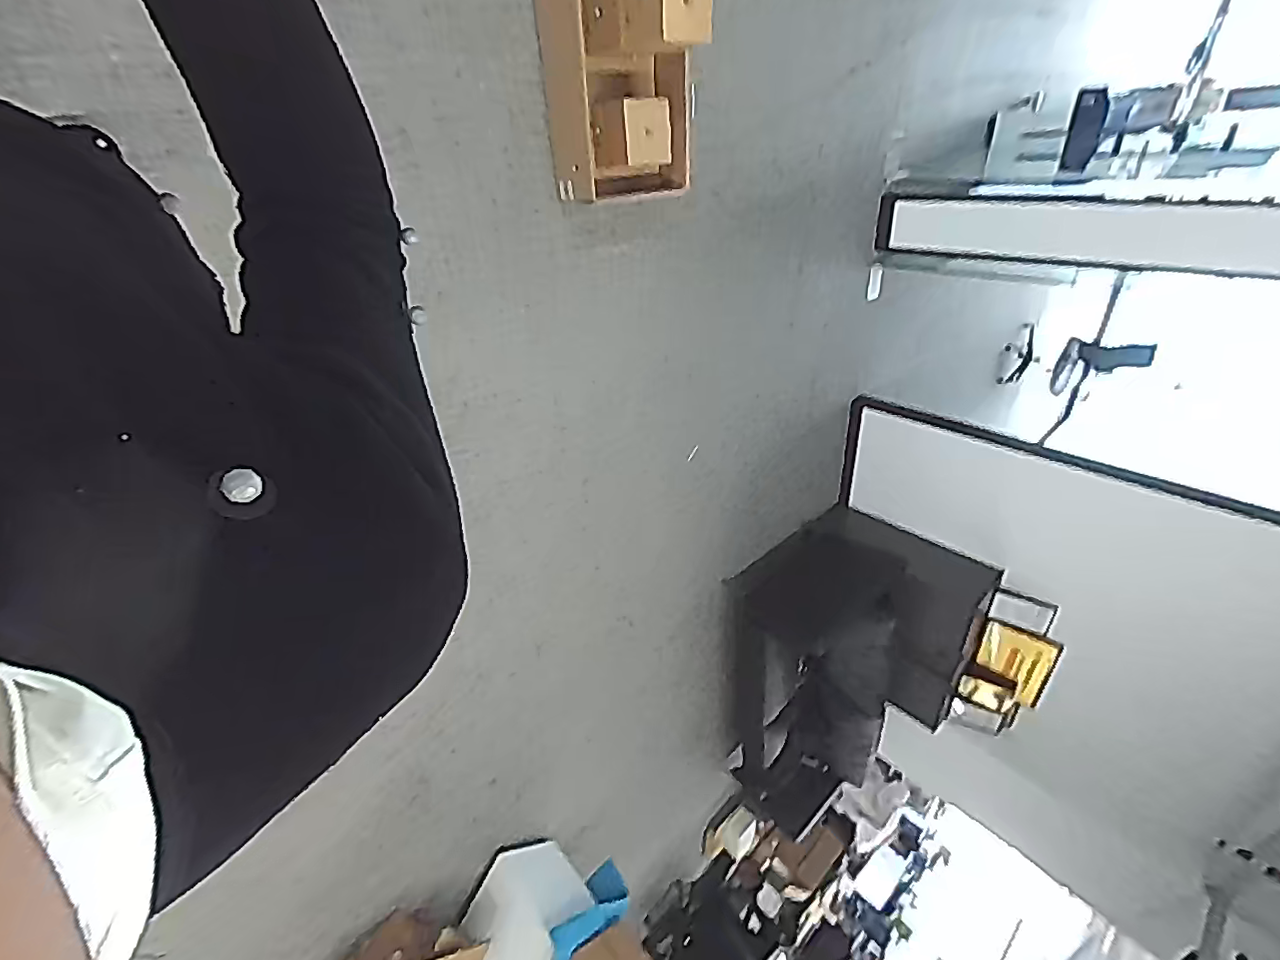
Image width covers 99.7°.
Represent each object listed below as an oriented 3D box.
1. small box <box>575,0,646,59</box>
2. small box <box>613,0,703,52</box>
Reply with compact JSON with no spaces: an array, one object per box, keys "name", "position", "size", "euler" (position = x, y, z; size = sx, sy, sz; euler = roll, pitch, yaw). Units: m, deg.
[{"name":"small box","position":[-0.066,-1.282,1.495],"size":[0.179,0.176,0.168],"euler":[-28,130,-33]},{"name":"small box","position":[0.043,-1.219,1.391],"size":[0.179,0.176,0.168],"euler":[-28,129,-33]}]
